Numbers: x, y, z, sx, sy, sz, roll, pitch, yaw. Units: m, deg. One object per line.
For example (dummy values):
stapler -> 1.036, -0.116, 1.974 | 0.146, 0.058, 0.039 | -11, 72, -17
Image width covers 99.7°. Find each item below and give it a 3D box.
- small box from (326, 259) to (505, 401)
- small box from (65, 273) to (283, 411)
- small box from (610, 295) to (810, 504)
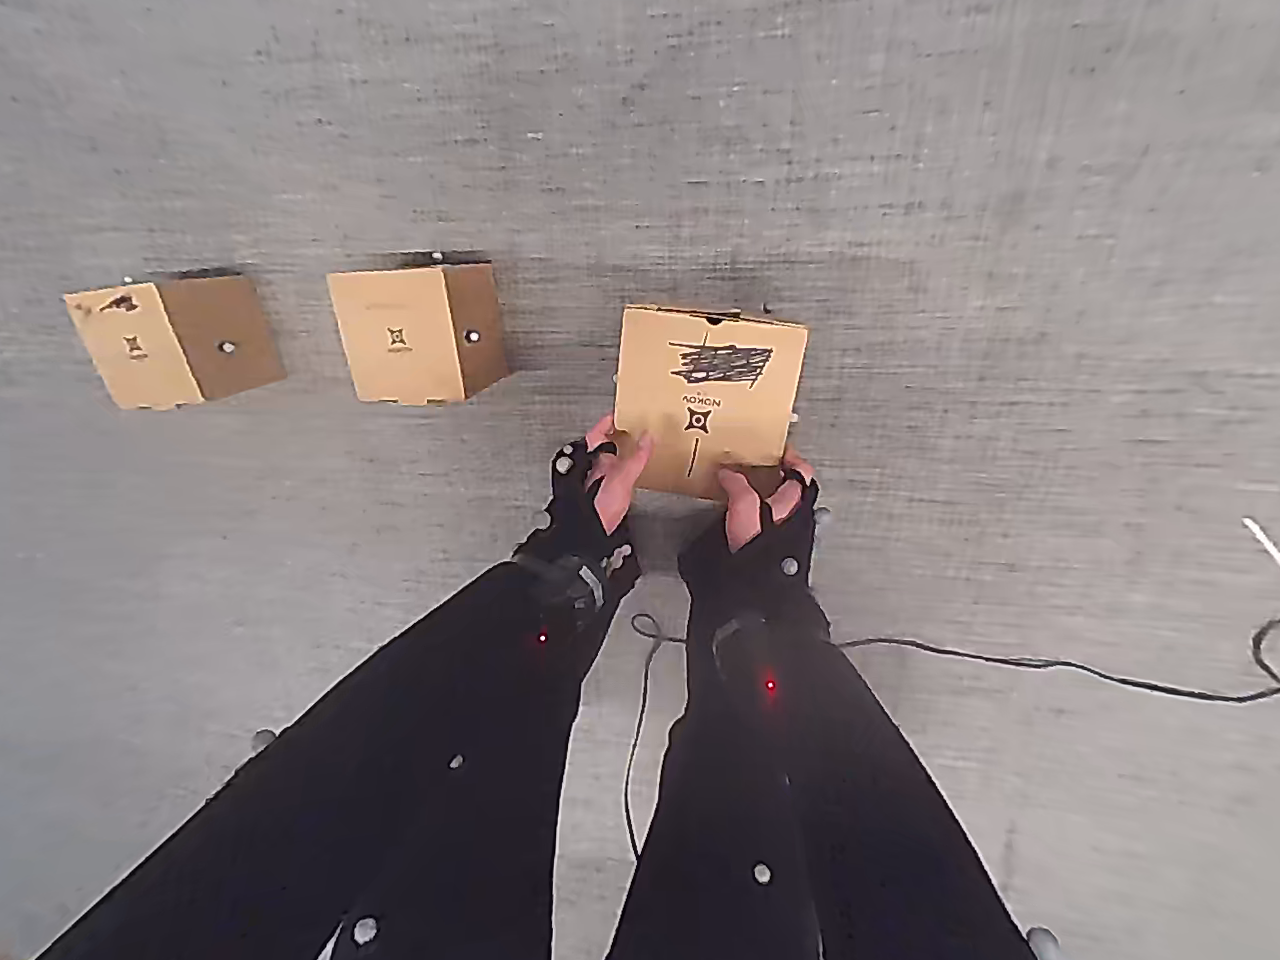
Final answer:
small box -> -0.312, -0.224, 0.795 | 0.168, 0.176, 0.179 | 0, 113, 8
small box -> -0.723, -0.223, 0.865 | 0.168, 0.176, 0.179 | -3, 115, 11
small box -> 0.073, -0.097, 0.577 | 0.168, 0.176, 0.179 | 10, 113, 8
